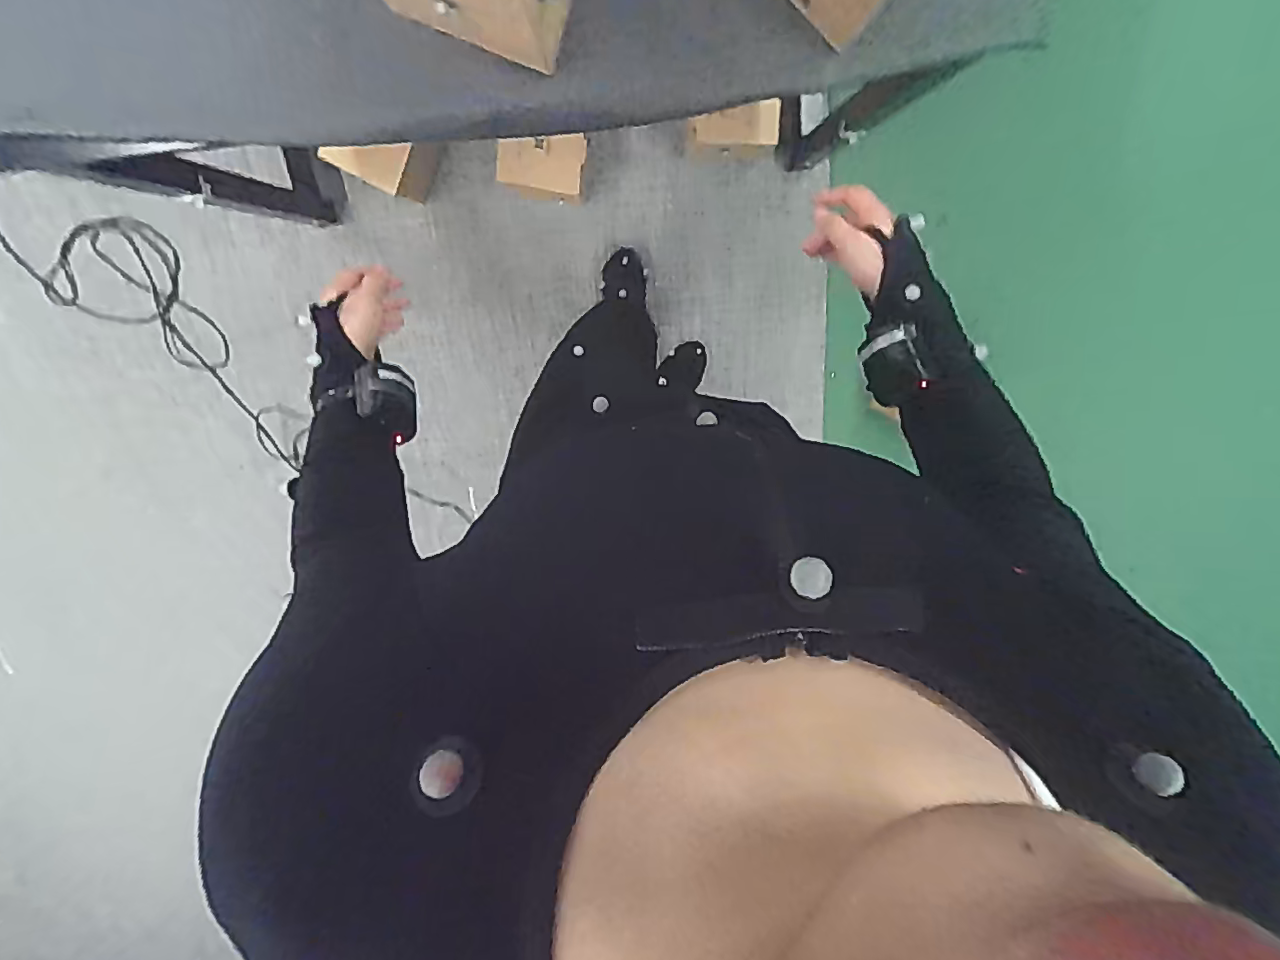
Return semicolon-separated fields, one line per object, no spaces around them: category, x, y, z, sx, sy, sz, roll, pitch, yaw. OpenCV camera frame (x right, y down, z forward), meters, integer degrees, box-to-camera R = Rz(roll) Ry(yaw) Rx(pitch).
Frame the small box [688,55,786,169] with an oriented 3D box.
small box;0.197;-0.774;1.154;0.179;0.176;0.168;-1;109;-2

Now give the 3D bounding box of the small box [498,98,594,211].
small box;-0.197;-0.692;1.171;0.179;0.176;0.168;8;108;-3

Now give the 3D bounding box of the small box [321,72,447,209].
small box;-0.537;-0.709;1.156;0.168;0.176;0.179;26;106;-10

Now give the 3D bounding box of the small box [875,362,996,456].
small box;0.739;-0.187;1.375;0.179;0.176;0.168;27;106;-10
